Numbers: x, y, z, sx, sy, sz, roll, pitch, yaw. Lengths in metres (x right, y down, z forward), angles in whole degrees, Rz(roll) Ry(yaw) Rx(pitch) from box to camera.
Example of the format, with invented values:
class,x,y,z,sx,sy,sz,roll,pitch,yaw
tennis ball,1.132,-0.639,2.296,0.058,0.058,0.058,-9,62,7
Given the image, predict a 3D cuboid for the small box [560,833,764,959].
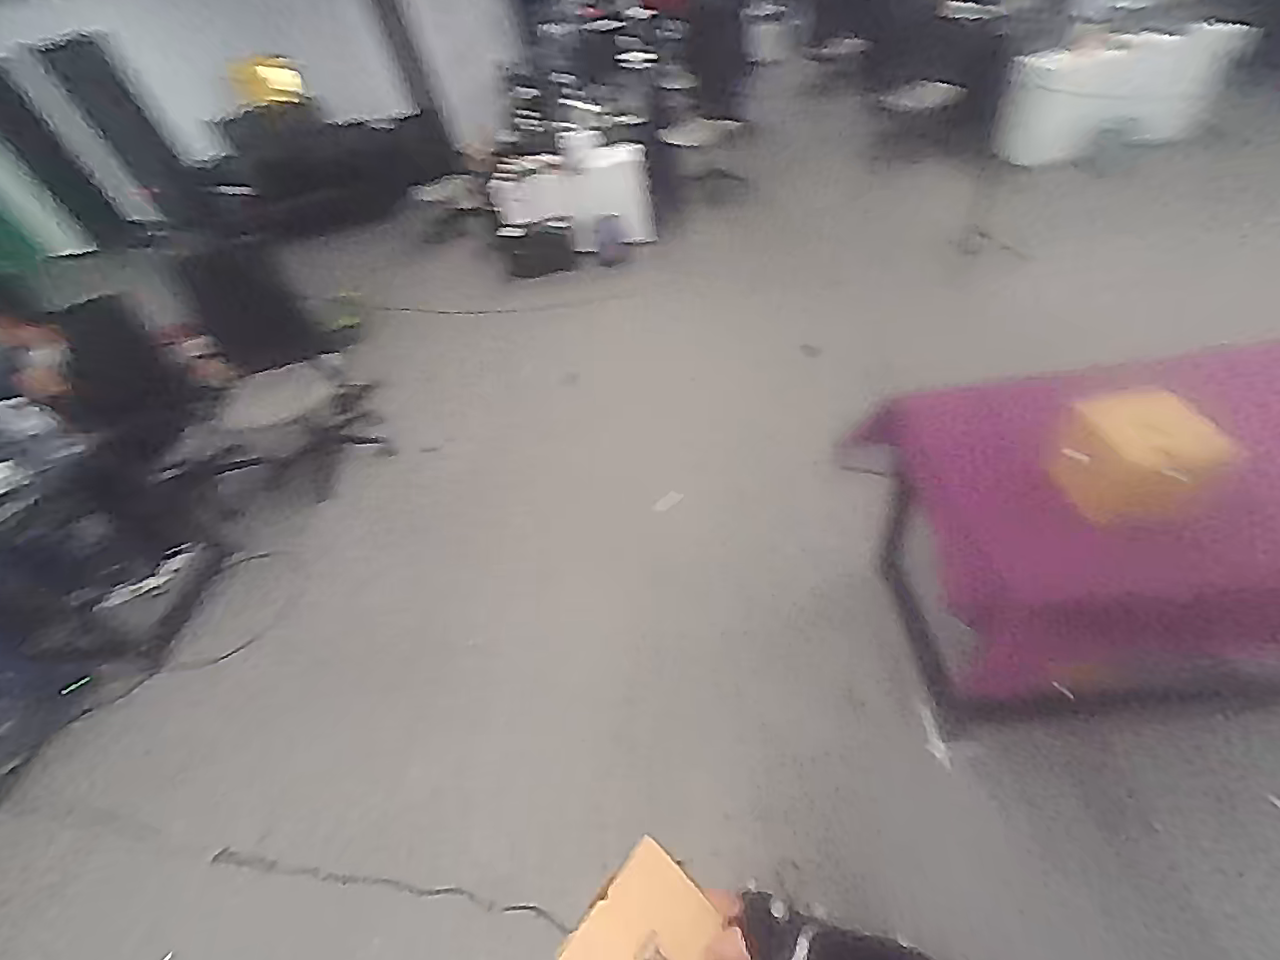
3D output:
class,x,y,z,sx,sy,sz,roll,pitch,yaw
small box,0.034,0.585,0.669,0.179,0.176,0.168,33,65,32
